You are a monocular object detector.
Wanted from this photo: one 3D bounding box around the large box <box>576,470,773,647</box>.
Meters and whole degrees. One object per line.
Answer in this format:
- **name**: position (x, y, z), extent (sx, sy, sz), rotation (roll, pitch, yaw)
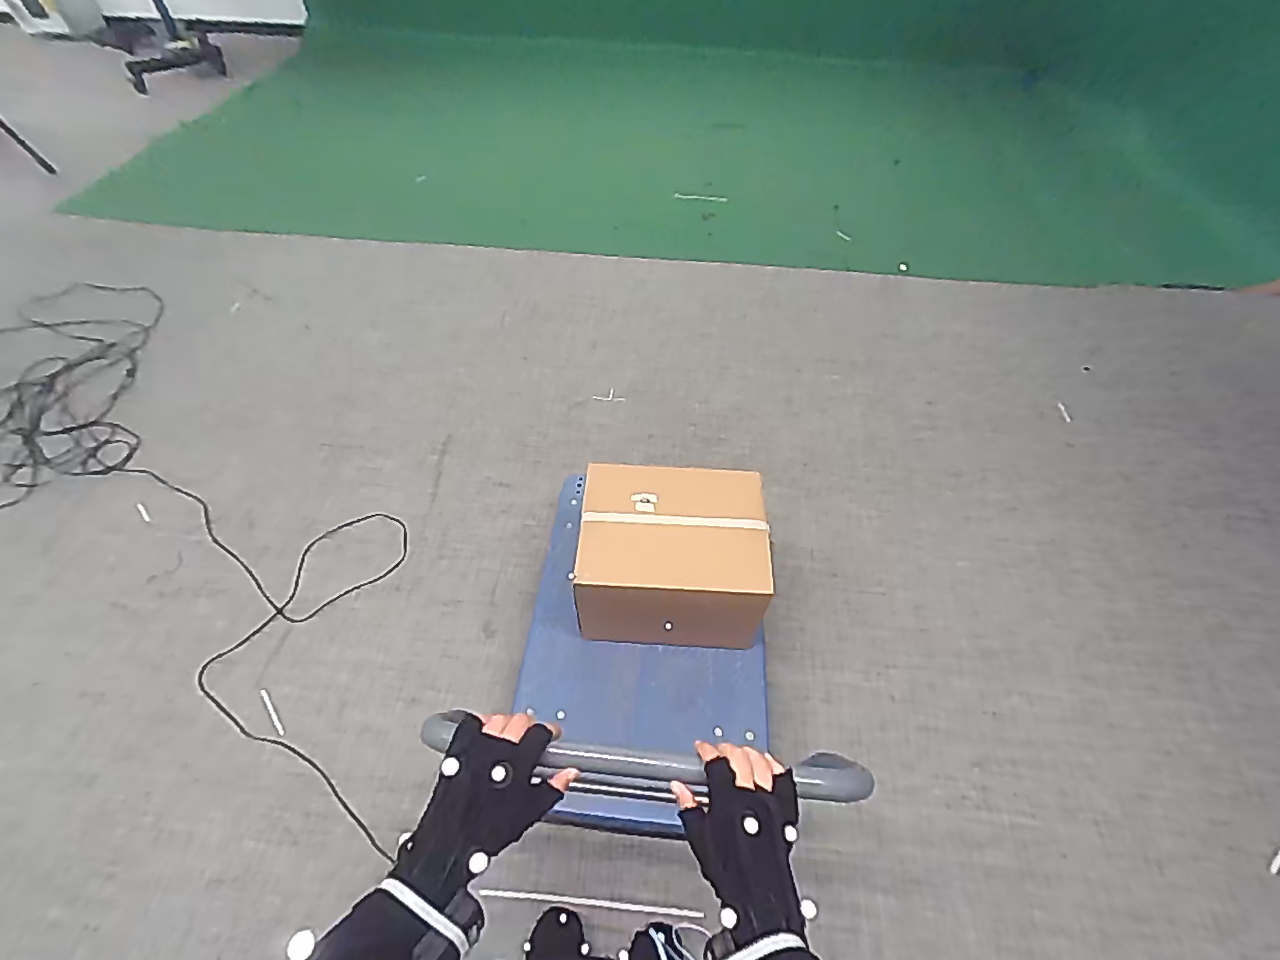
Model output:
- **large box**: position (0.073, 0.194, 1.294), extent (0.408, 0.320, 0.320), rotation (3, 52, 1)
